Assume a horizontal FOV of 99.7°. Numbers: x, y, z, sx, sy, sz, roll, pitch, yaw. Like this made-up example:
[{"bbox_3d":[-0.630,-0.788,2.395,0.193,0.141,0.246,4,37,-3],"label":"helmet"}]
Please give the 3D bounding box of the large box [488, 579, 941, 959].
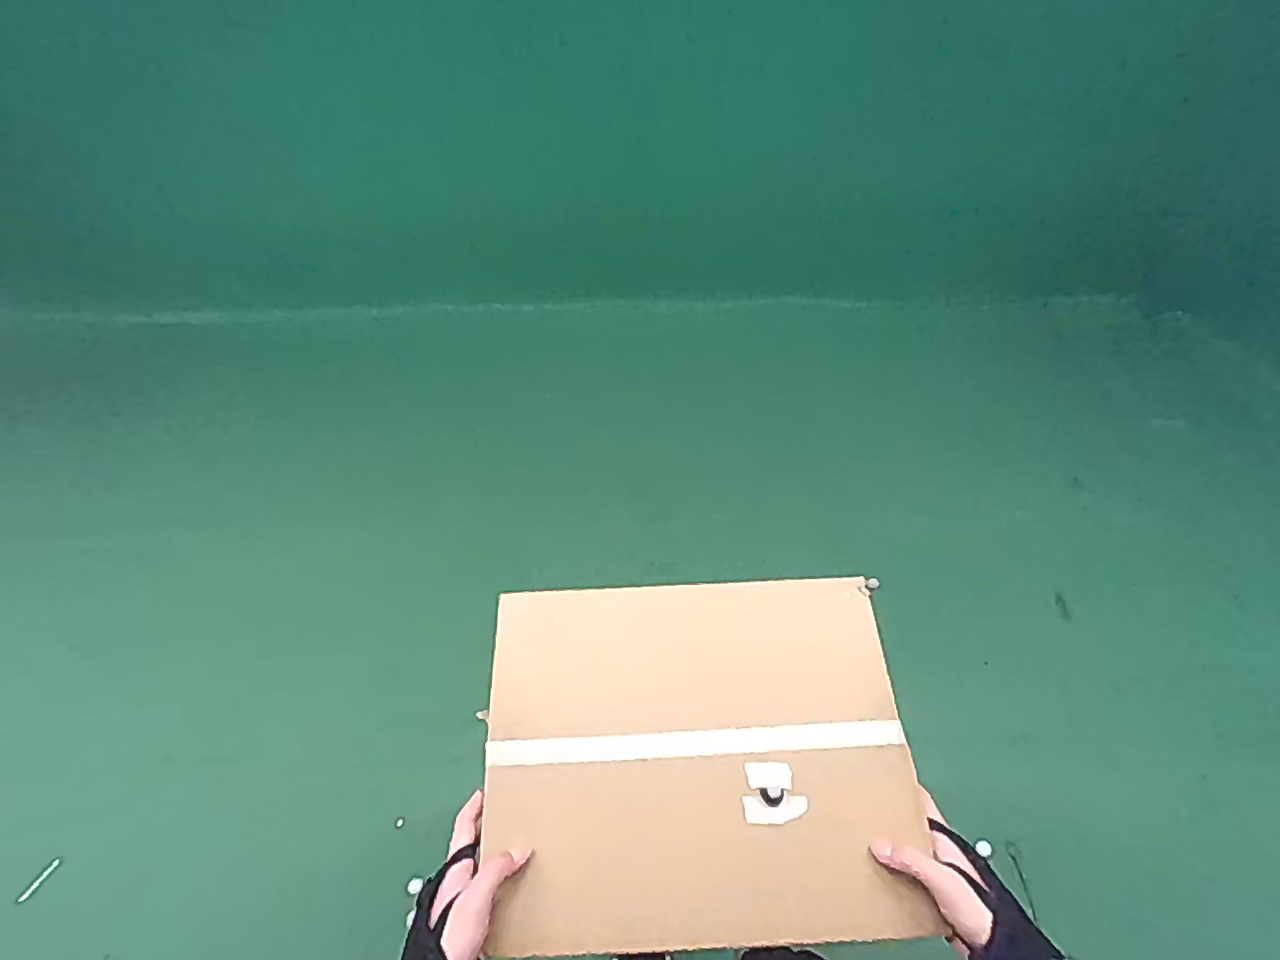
[{"bbox_3d":[0.056,0.329,0.664,0.408,0.320,0.320,-3,63,-1],"label":"large box"}]
